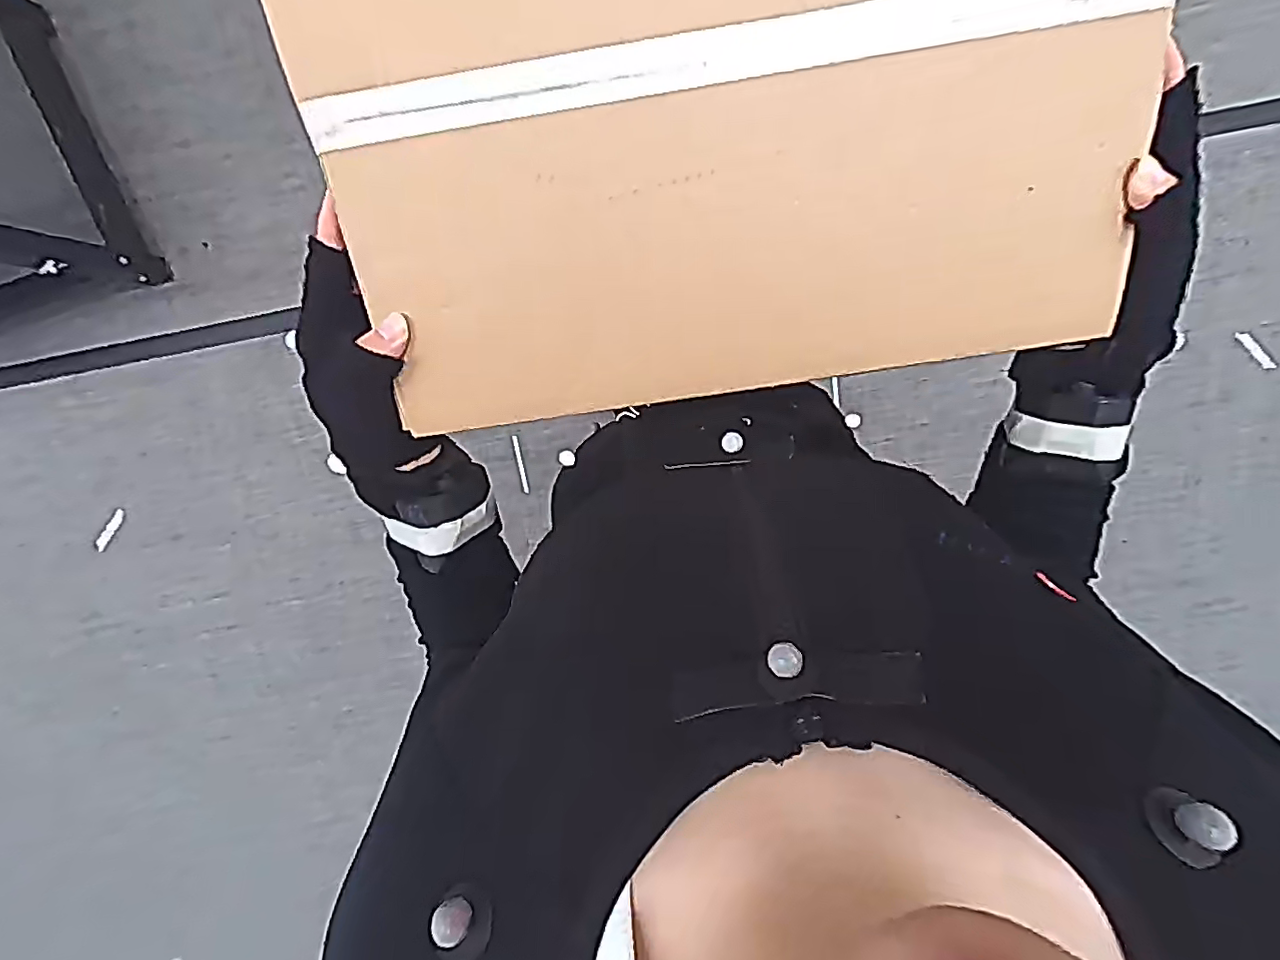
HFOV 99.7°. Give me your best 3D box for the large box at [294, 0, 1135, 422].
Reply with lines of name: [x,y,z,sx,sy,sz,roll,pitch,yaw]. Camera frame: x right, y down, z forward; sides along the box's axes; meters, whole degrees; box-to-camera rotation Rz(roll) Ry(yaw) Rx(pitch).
large box: [0.036,-0.258,0.404,0.408,0.320,0.320,-8,113,2]
